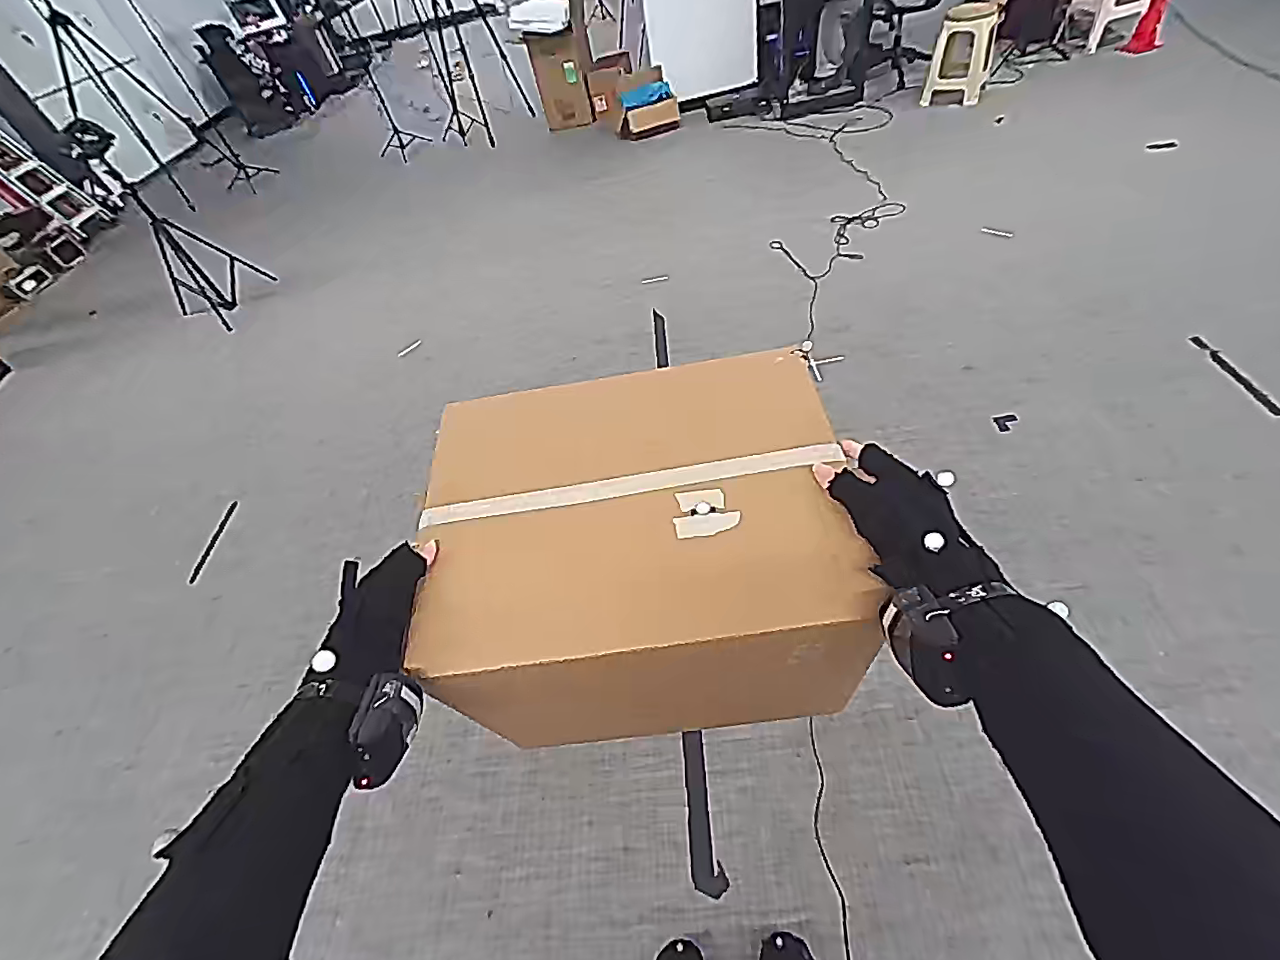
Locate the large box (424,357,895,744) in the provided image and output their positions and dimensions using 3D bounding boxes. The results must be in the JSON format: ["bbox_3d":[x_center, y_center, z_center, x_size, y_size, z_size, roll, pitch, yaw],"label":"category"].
[{"bbox_3d":[0.016,0.099,0.650,0.408,0.320,0.320,-8,54,3],"label":"large box"}]
